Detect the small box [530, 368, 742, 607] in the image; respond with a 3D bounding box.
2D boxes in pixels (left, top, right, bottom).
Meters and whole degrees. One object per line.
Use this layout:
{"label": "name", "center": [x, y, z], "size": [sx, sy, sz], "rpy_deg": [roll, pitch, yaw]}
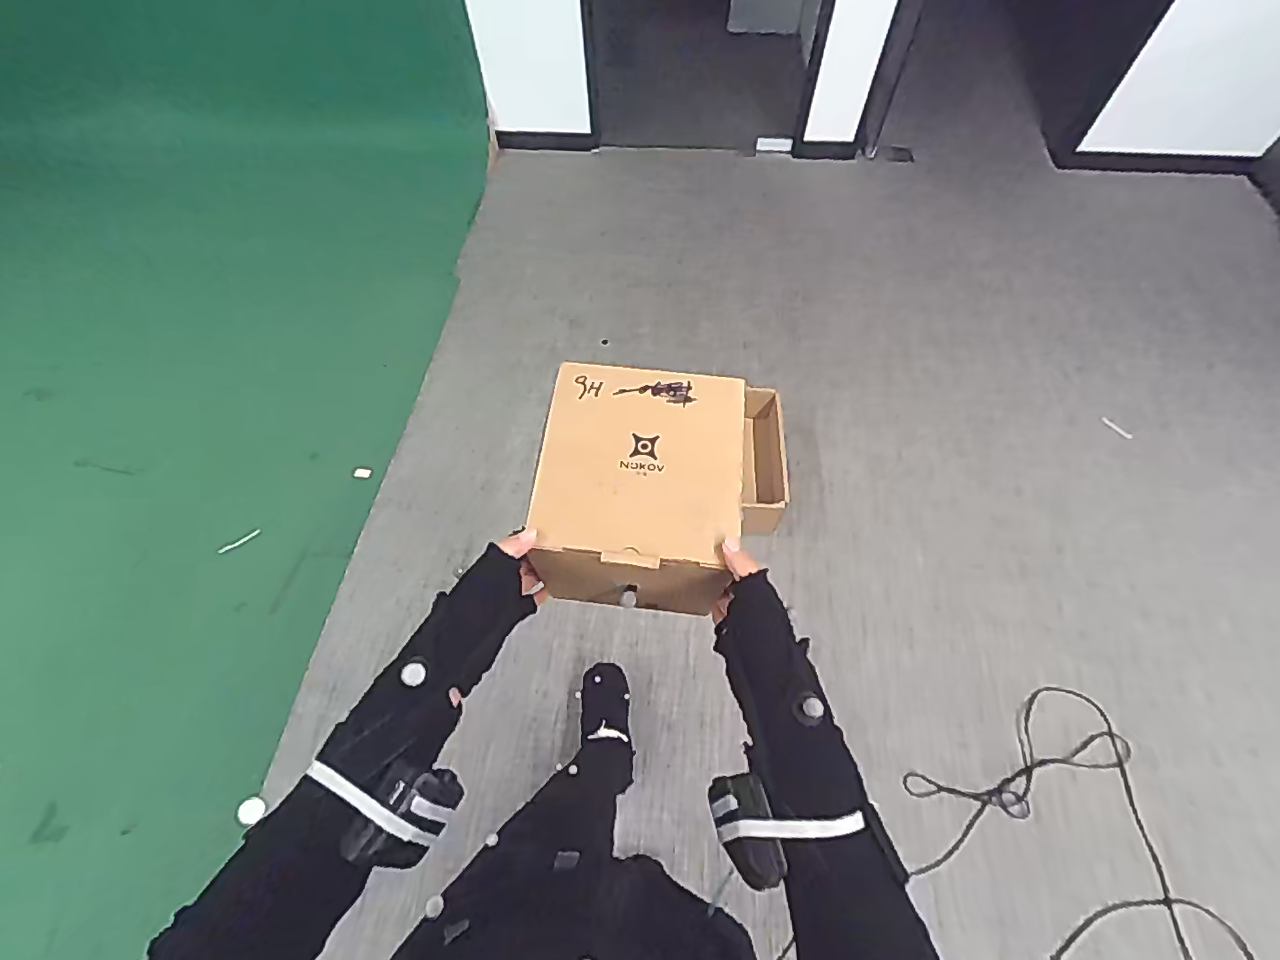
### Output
{"label": "small box", "center": [0.003, 0.016, 0.516], "size": [0.168, 0.176, 0.179], "rpy_deg": [3, 64, 2]}
